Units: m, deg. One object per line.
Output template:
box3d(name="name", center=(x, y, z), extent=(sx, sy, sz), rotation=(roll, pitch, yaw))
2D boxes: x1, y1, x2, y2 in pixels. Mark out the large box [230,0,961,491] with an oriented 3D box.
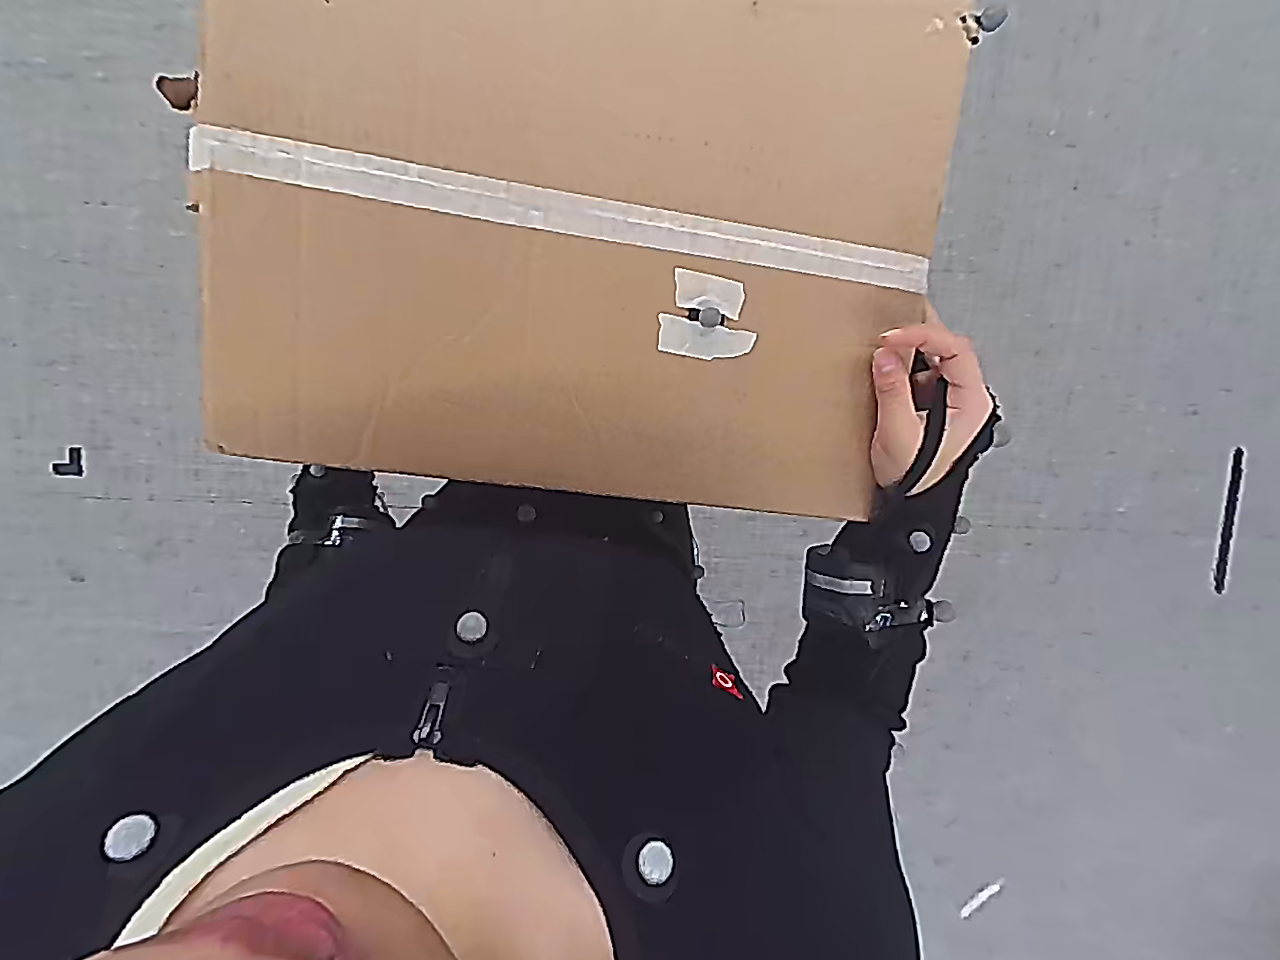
box3d(name="large box", center=(-0.041, -0.182, 0.458), extent=(0.408, 0.320, 0.320), rotation=(6, 99, -11))
